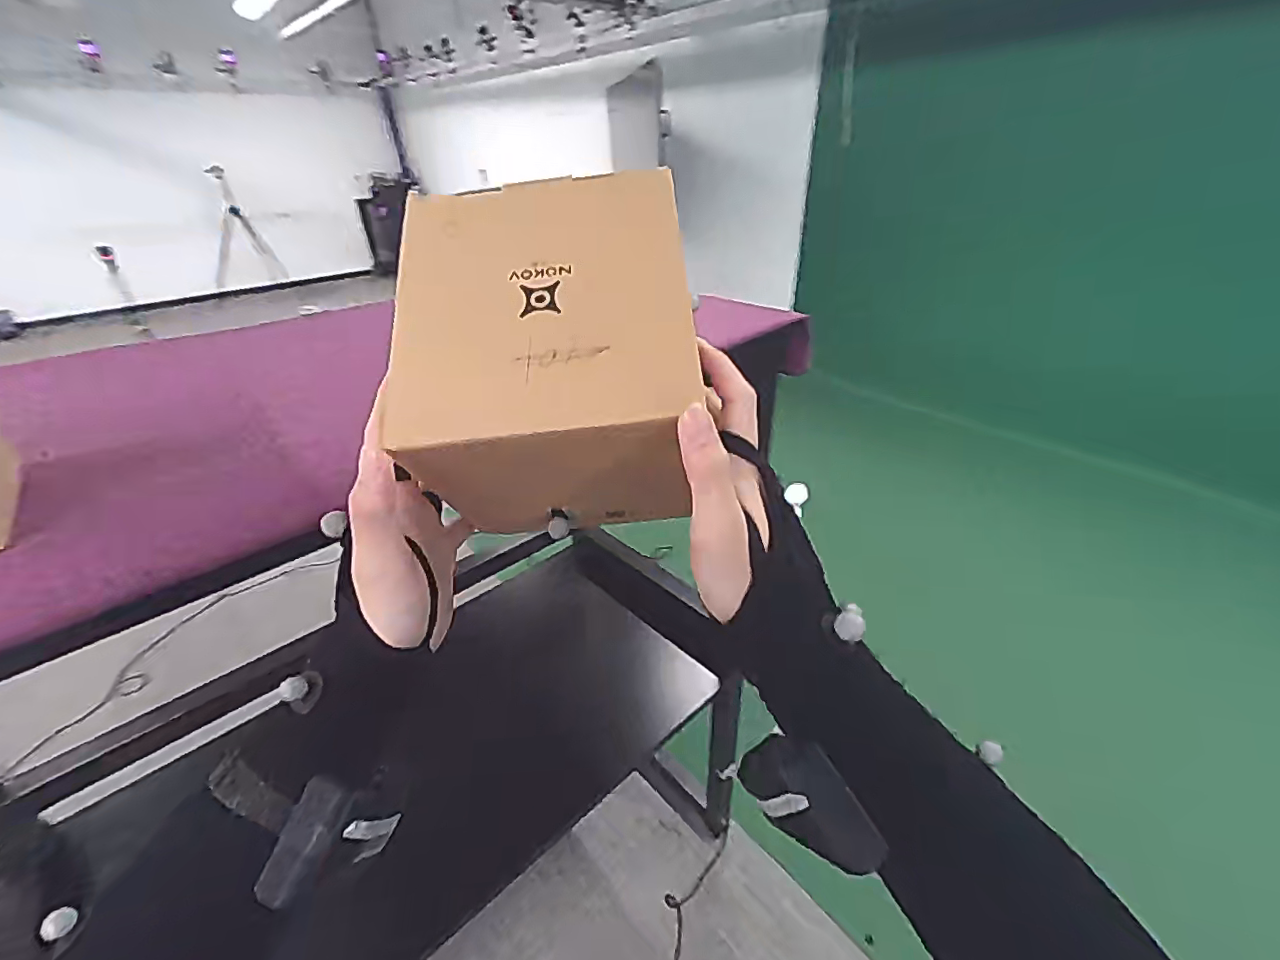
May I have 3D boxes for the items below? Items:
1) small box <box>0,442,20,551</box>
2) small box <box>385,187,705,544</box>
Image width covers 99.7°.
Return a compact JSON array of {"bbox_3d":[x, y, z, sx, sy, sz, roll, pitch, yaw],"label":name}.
[{"bbox_3d":[-0.548,-0.020,0.335,0.168,0.176,0.179,-27,39,-35],"label":"small box"},{"bbox_3d":[-0.048,-0.065,0.377,0.168,0.176,0.179,-5,69,2],"label":"small box"}]
